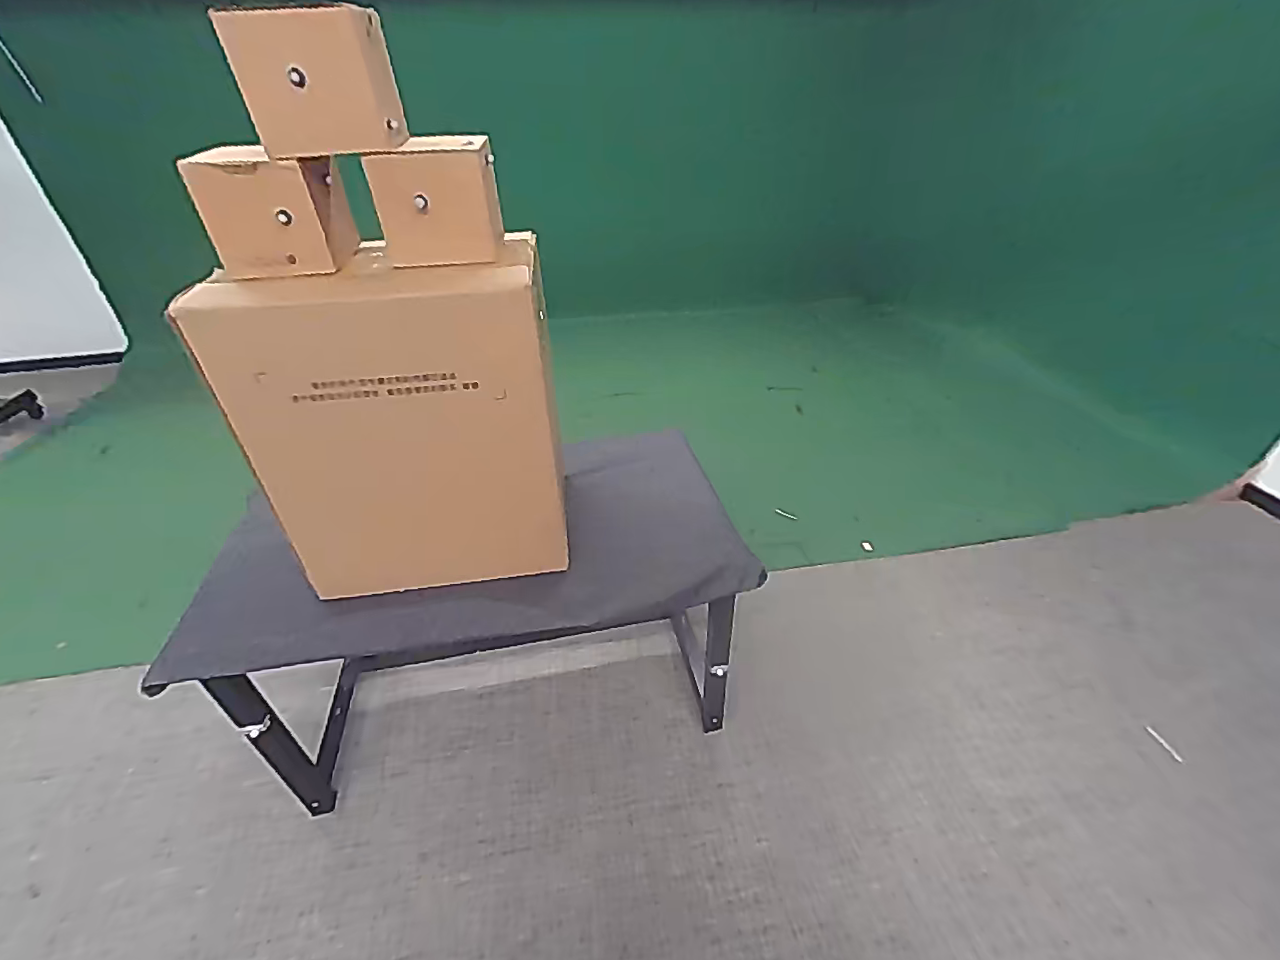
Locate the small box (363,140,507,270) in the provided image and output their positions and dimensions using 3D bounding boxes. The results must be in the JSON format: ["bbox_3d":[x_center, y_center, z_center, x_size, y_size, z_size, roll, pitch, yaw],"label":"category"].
[{"bbox_3d":[-0.336,-0.470,0.925,0.179,0.176,0.168,-6,39,-4],"label":"small box"}]

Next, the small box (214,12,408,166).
[{"bbox_3d":[-0.469,-0.584,0.810,0.179,0.176,0.168,-8,39,-5],"label":"small box"}]

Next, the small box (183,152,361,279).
[{"bbox_3d":[-0.590,-0.440,0.899,0.168,0.176,0.179,-6,37,-7],"label":"small box"}]
